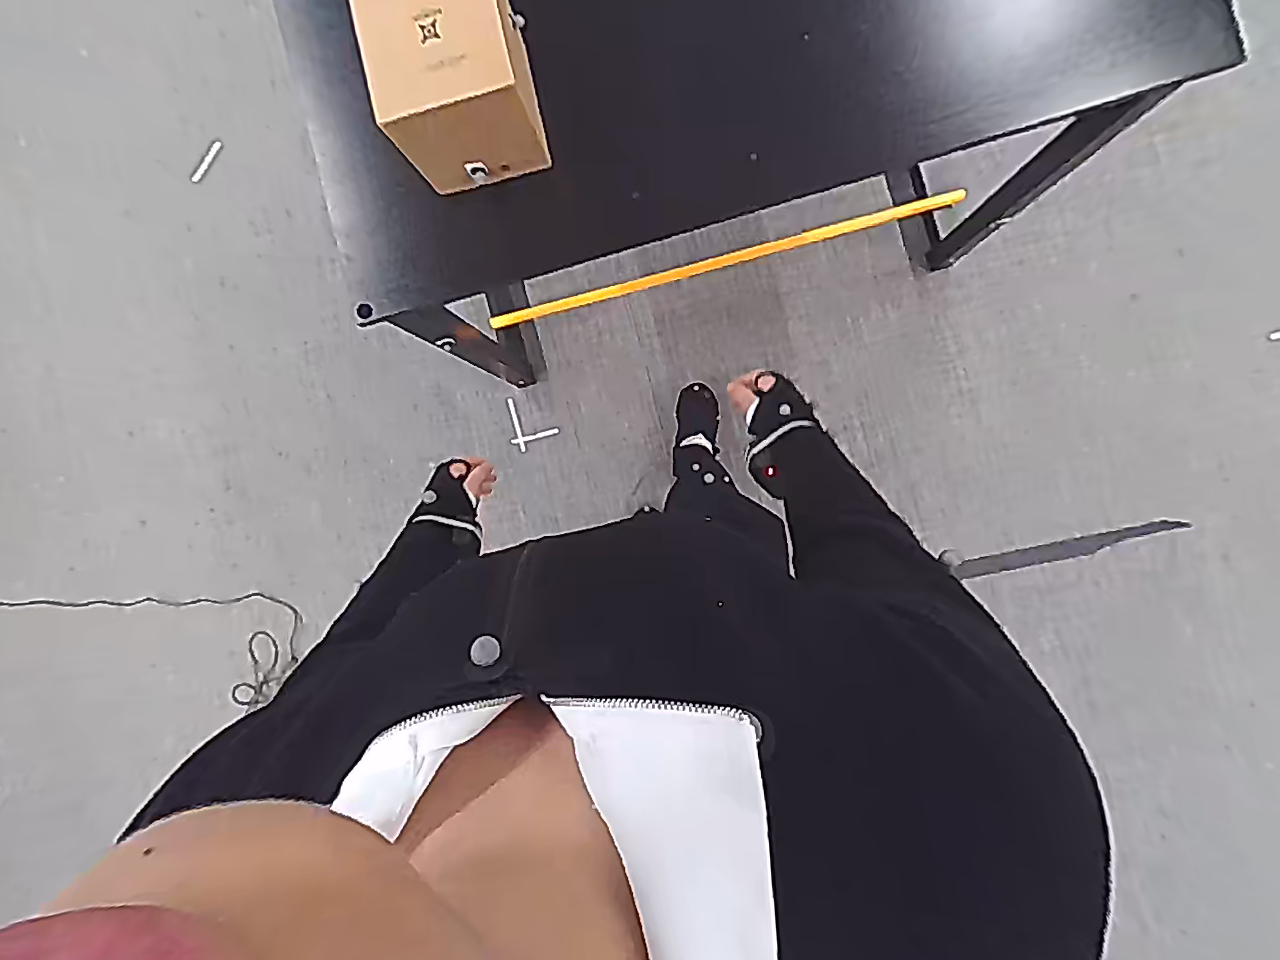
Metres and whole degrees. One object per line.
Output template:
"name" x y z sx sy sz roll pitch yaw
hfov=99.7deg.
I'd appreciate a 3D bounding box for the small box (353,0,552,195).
"small box" -0.223 -0.500 0.679 0.168 0.176 0.179 -13 91 6
